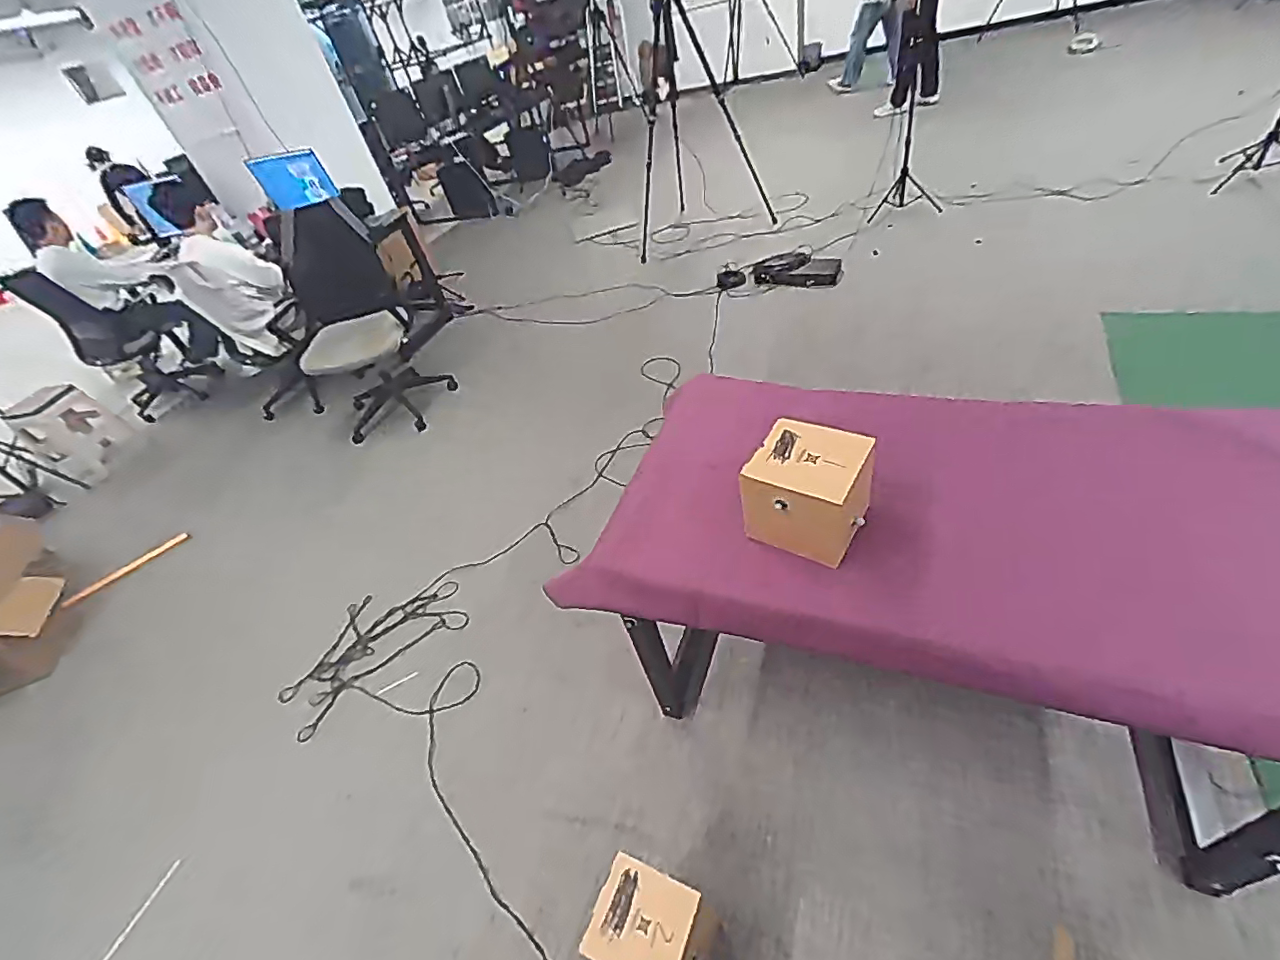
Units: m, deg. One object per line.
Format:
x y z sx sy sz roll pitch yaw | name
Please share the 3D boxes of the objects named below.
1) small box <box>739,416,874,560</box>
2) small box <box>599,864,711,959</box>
0.294 0.015 0.964 0.179 0.176 0.168 20 53 31 | small box
0.041 0.953 1.130 0.168 0.176 0.179 11 50 26 | small box
